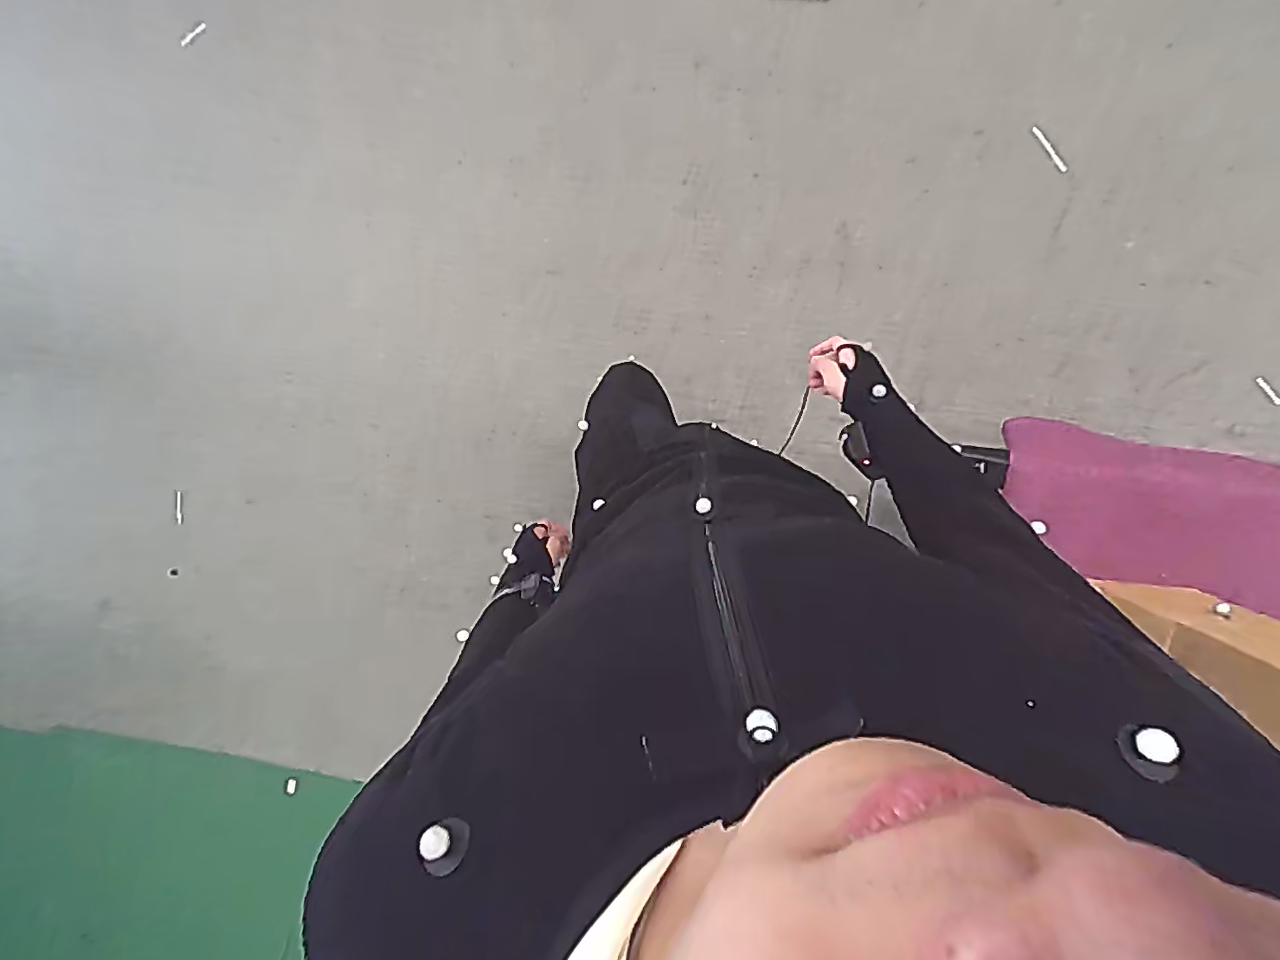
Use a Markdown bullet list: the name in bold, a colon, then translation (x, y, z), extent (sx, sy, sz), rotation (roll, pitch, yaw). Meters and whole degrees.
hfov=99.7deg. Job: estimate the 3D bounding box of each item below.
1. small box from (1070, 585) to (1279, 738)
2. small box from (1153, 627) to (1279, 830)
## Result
- **small box**: translation (0.776, 0.260, 0.781), extent (0.179, 0.176, 0.168), rotation (5, 98, 4)
- **small box**: translation (0.764, 0.284, 0.619), extent (0.179, 0.176, 0.168), rotation (6, 98, 5)
